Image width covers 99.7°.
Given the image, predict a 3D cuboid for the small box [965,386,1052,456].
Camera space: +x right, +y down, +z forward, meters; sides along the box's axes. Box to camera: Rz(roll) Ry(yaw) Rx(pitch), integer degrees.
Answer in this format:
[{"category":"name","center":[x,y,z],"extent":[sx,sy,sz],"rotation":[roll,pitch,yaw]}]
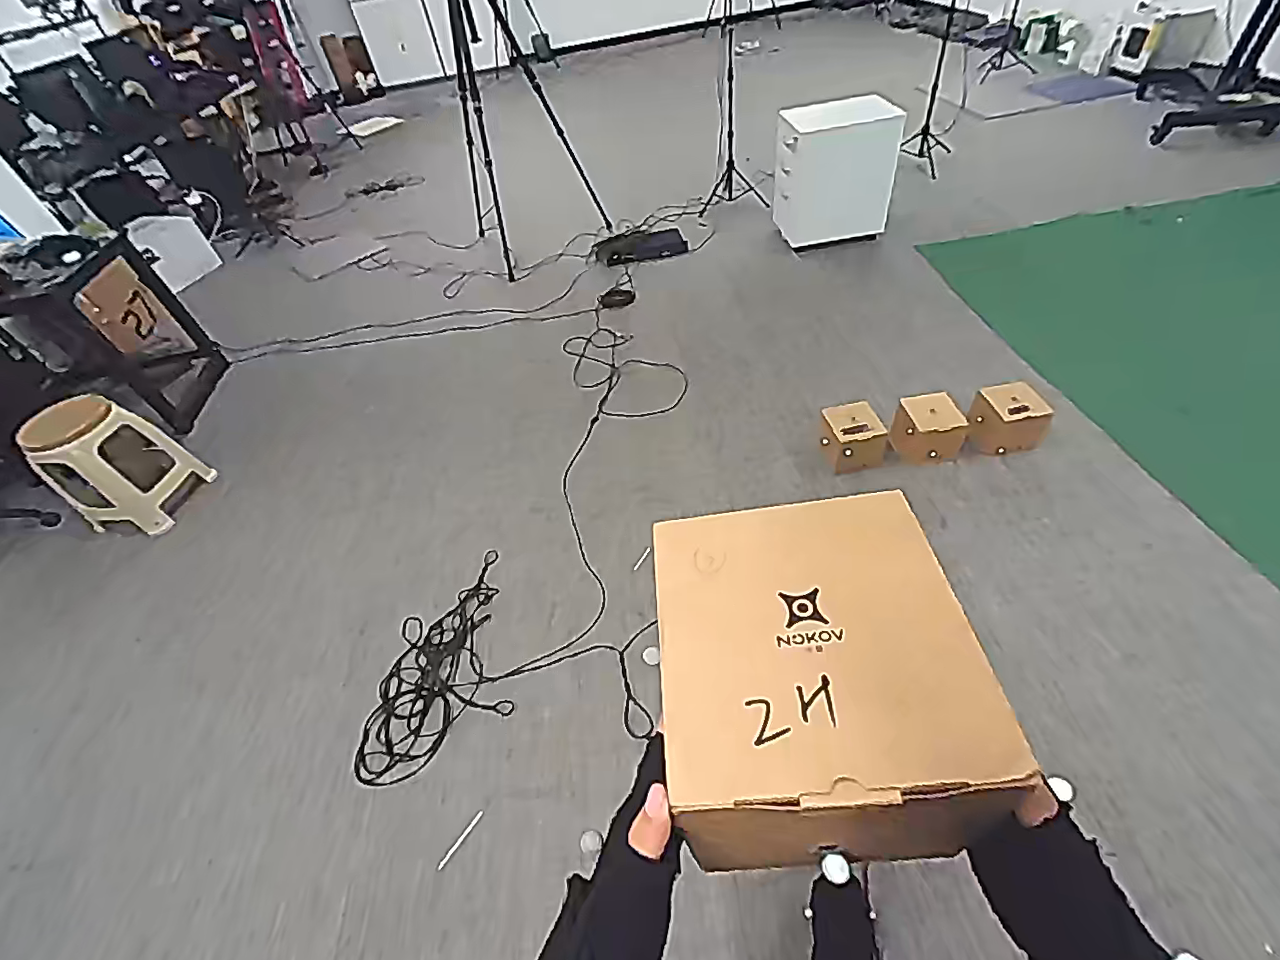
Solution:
[{"category":"small box","center":[1.270,-0.200,1.881],"extent":[0.168,0.176,0.179],"rotation":[-9,47,1]}]

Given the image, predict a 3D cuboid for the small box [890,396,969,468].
[{"category":"small box","center":[1.003,-0.167,1.894],"extent":[0.168,0.176,0.179],"rotation":[-8,48,1]}]
